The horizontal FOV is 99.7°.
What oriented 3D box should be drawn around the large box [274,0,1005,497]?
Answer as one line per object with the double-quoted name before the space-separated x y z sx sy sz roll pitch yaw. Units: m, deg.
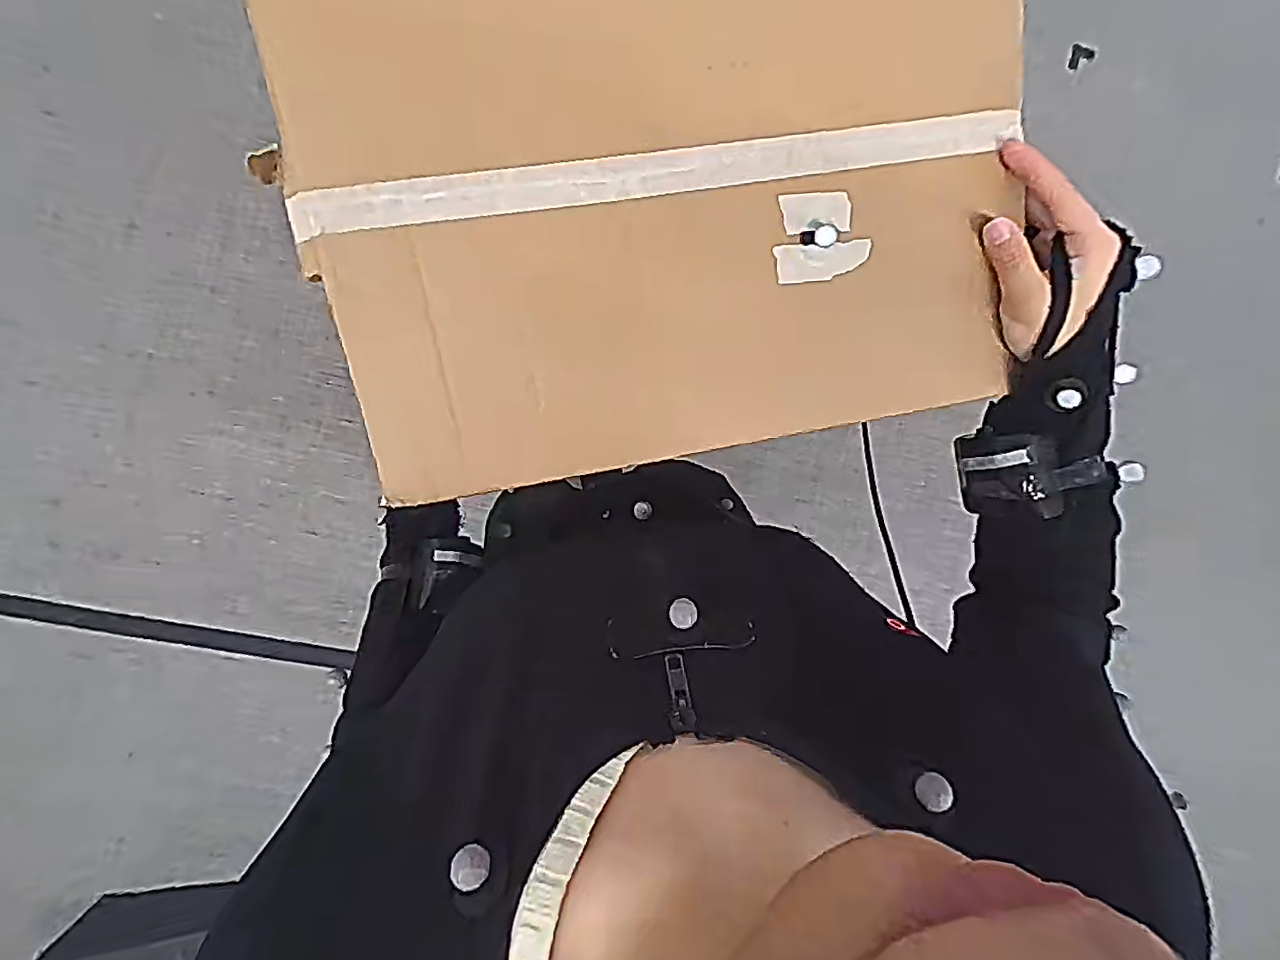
"large box" 0.004 -0.202 0.453 0.408 0.320 0.320 -11 104 -9
